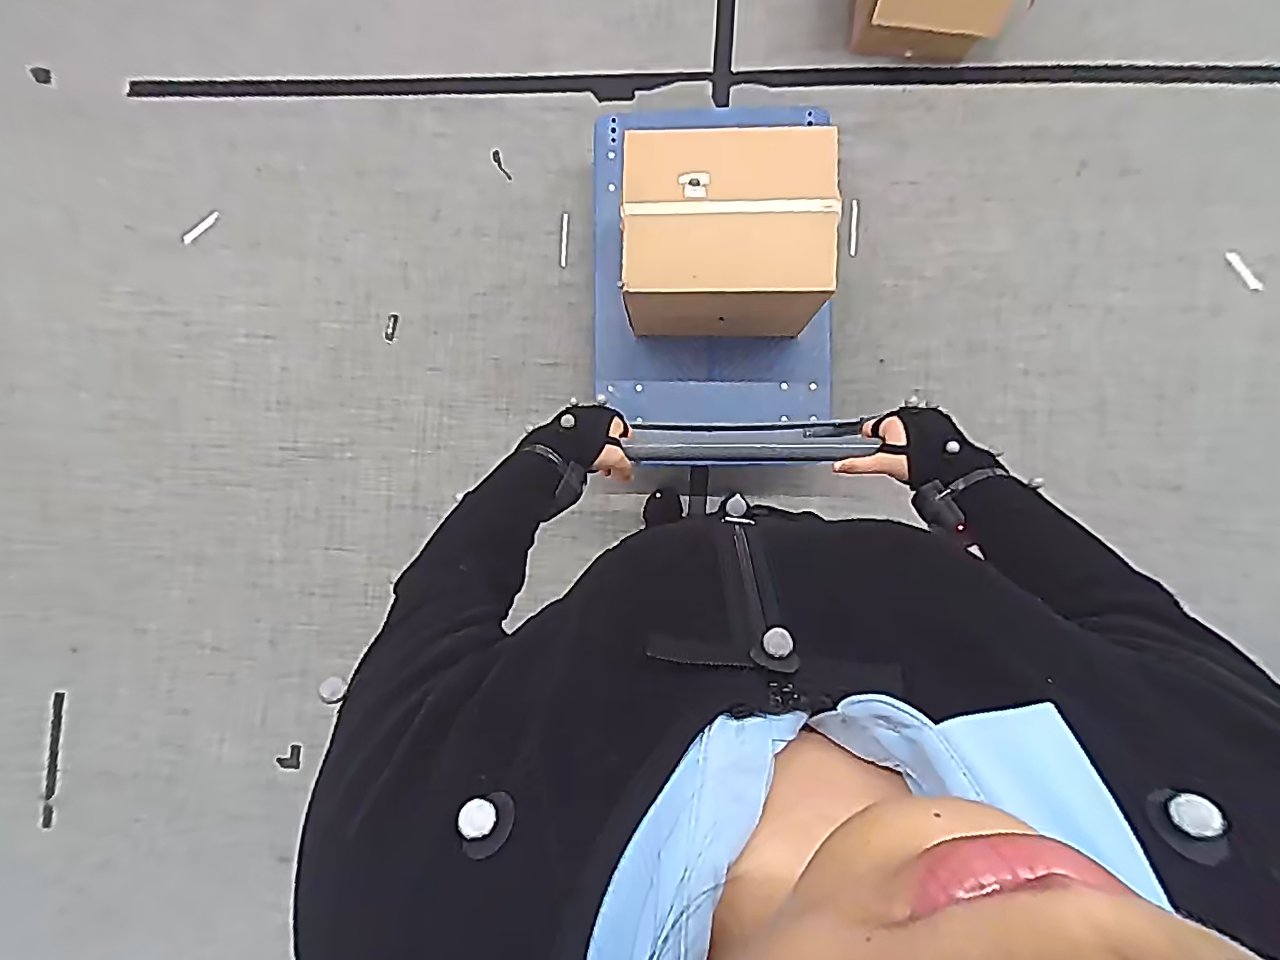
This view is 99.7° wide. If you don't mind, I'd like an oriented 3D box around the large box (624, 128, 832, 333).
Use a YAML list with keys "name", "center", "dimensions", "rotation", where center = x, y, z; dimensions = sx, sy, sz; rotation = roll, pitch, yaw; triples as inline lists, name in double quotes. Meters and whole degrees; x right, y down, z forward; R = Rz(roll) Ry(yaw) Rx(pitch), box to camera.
- name: "large box"
  center: [0.181, -0.518, 1.192]
  dimensions: [0.408, 0.320, 0.320]
  rotation: [1, 89, 5]
